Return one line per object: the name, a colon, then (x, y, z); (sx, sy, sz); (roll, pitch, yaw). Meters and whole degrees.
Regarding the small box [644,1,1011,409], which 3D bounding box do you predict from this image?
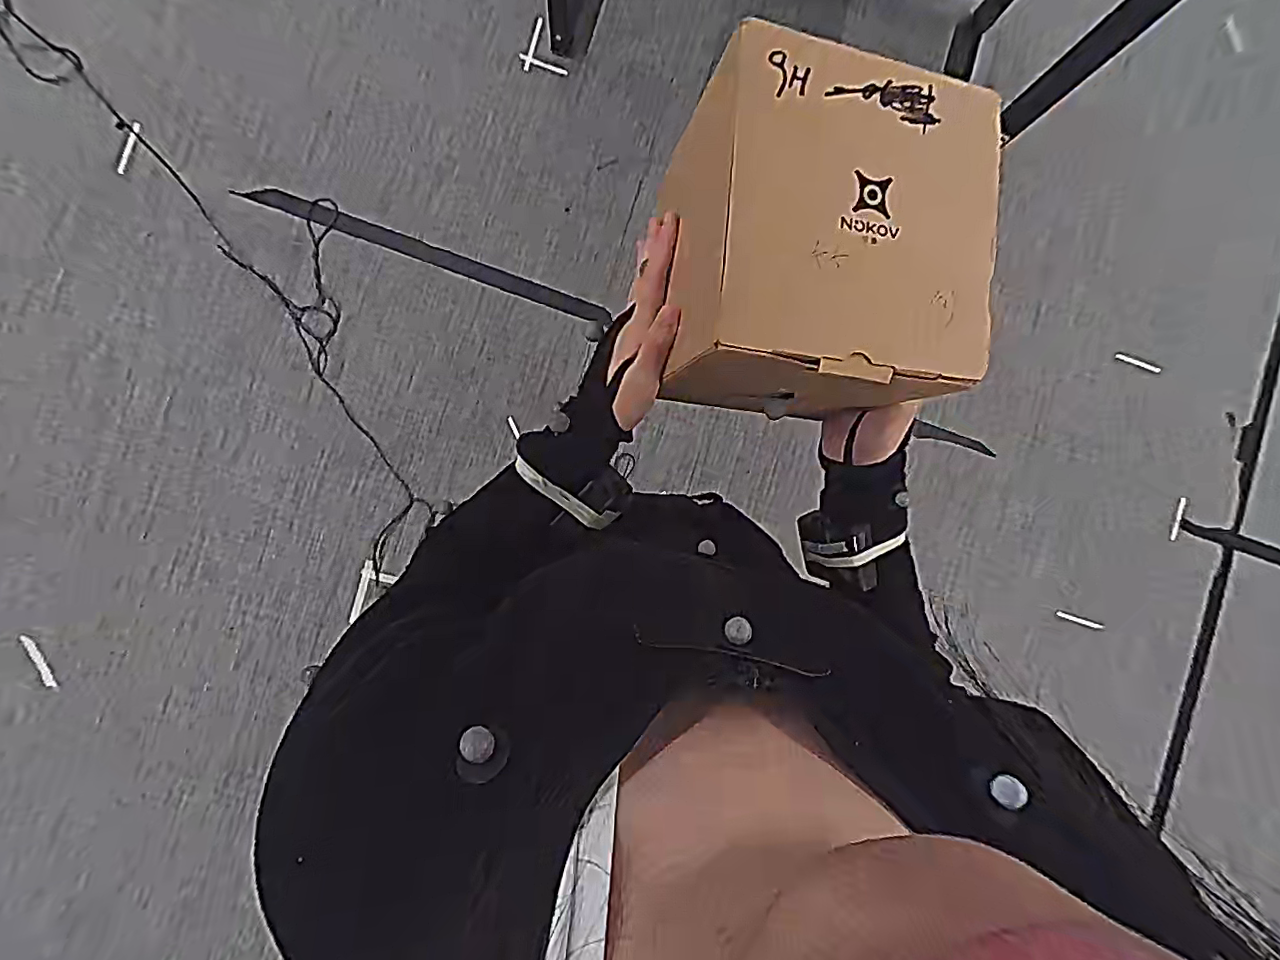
small box: (0.104, -0.148, 0.365); (0.168, 0.176, 0.179); (5, 89, -14)
